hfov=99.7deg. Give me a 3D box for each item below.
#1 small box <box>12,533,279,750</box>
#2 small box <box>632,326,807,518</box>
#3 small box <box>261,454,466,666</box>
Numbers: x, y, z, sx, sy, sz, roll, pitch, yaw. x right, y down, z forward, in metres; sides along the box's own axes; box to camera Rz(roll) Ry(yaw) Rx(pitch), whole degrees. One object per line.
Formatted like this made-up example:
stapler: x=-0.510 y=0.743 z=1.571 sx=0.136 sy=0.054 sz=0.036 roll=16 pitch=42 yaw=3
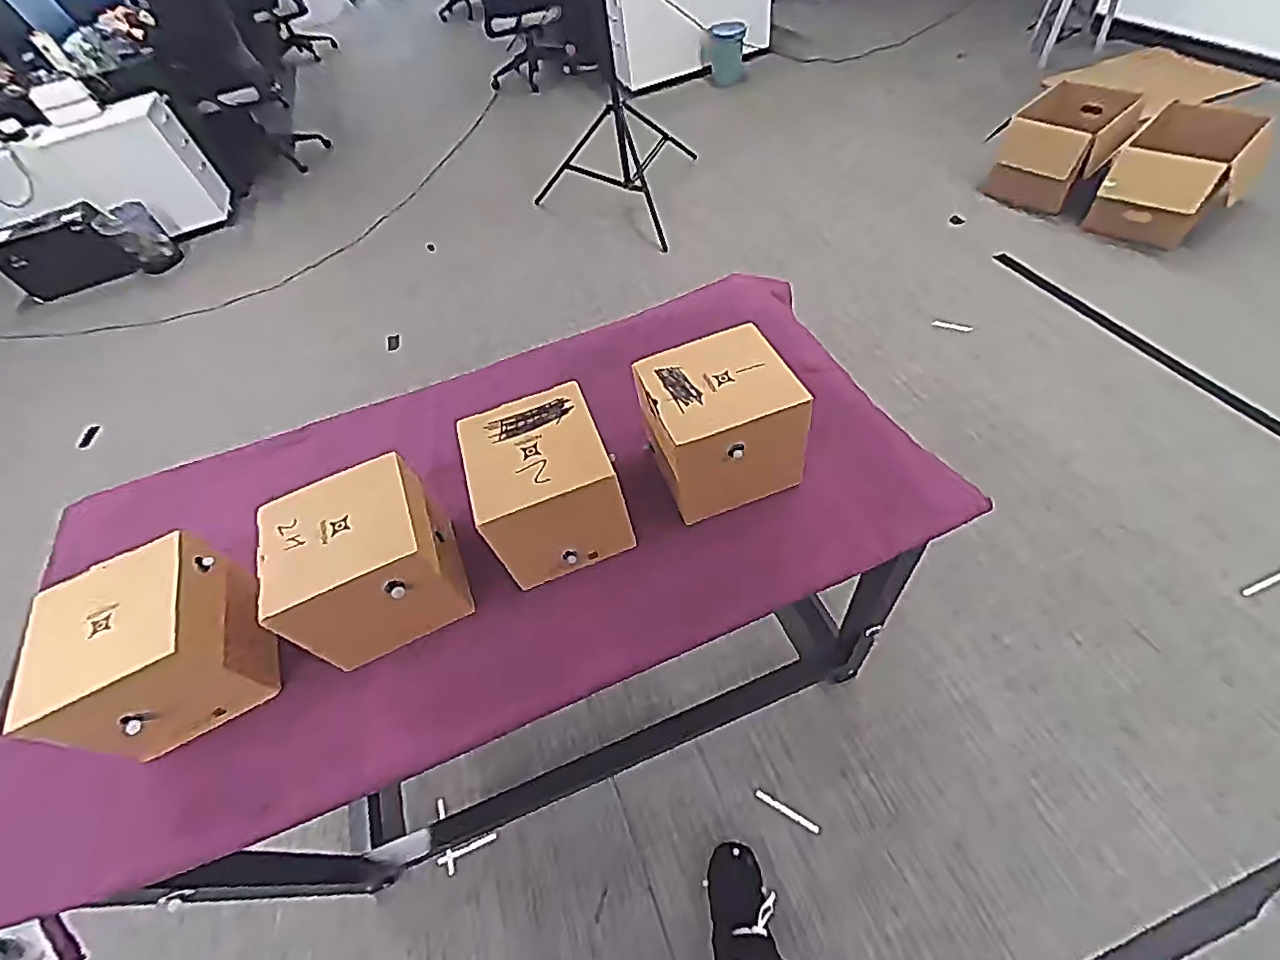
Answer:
small box: x=-0.573 y=0.203 z=0.656 sx=0.168 sy=0.176 sz=0.179 roll=-27 pitch=53 yaw=-10
small box: x=0.105 y=-0.074 z=0.736 sx=0.179 sy=0.176 sz=0.168 roll=-19 pitch=52 yaw=-5
small box: x=-0.338 y=0.104 z=0.685 sx=0.179 sy=0.176 sz=0.168 roll=-25 pitch=53 yaw=-9
